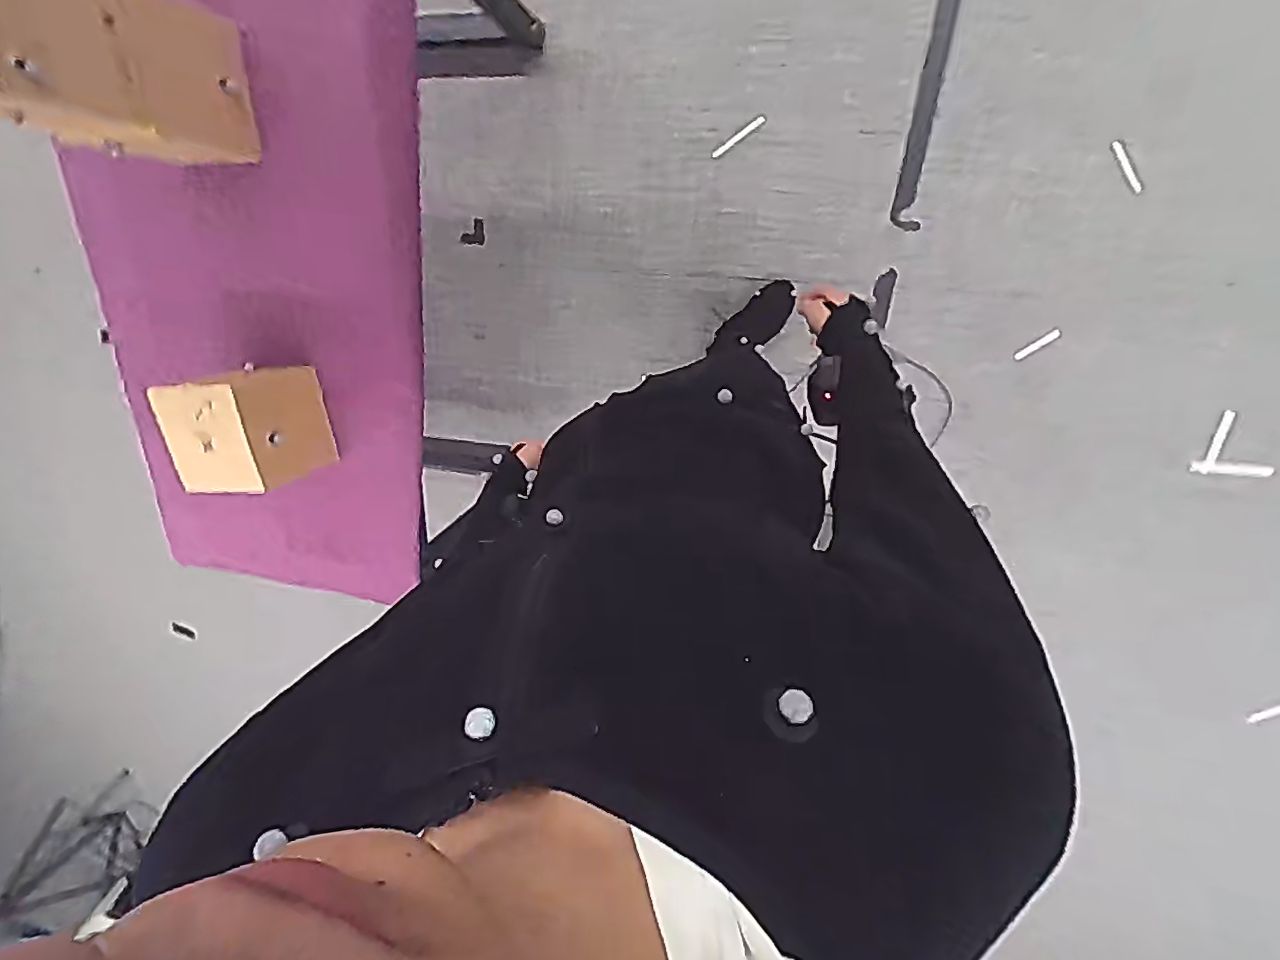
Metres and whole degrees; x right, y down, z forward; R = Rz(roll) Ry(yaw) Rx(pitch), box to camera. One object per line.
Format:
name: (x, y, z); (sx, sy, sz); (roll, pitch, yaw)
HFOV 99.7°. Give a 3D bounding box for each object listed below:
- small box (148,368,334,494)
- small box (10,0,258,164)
small box: (-0.658, -0.088, 0.917); (0.168, 0.176, 0.179); (0, 110, 13)
small box: (-0.677, -0.552, 0.743); (0.168, 0.176, 0.179); (5, 111, 11)
